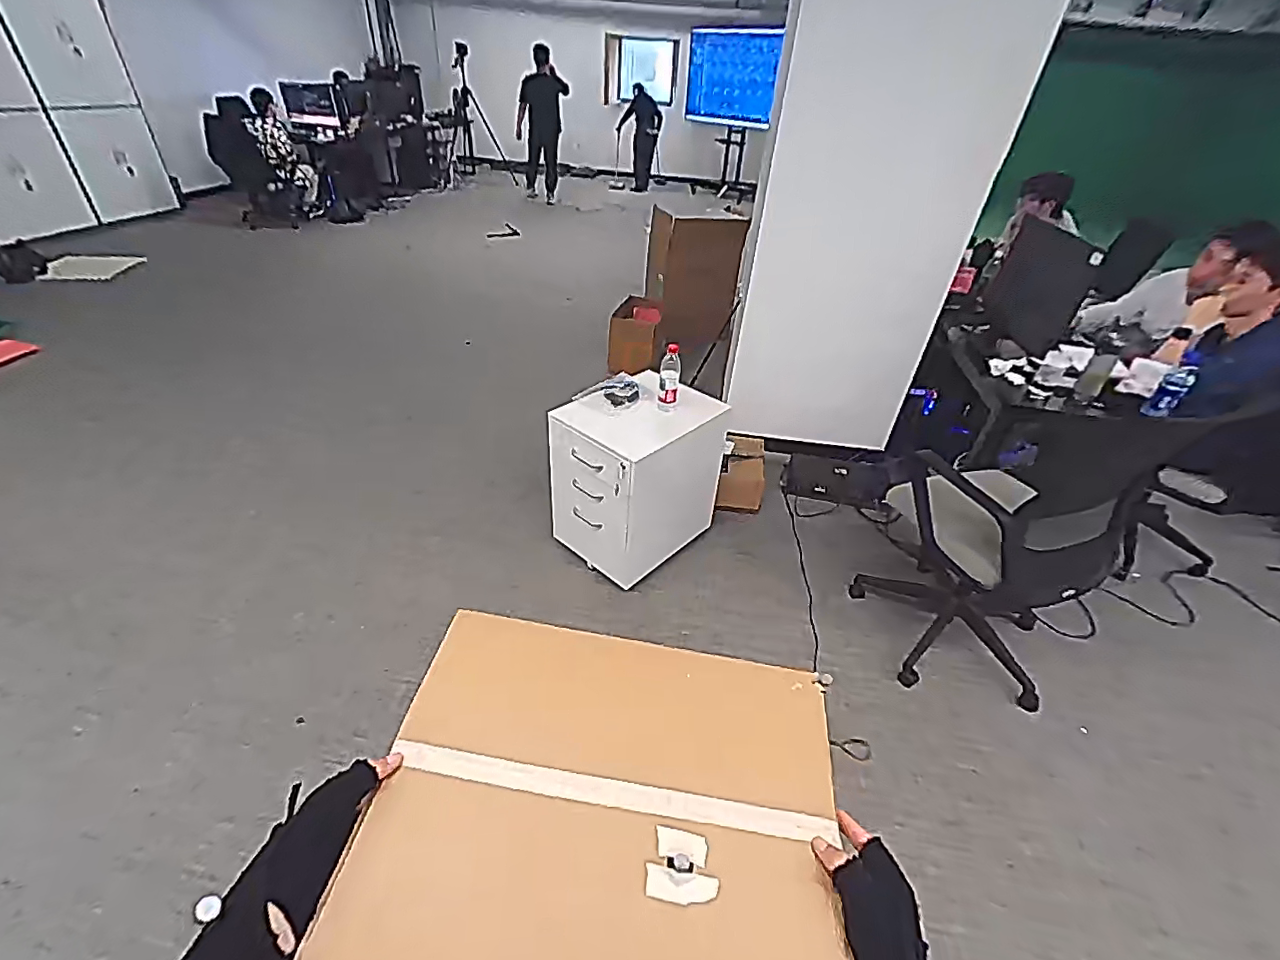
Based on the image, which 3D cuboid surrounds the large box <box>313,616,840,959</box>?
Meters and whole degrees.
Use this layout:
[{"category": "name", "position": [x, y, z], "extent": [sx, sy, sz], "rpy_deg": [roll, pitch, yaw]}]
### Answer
[{"category": "large box", "position": [-0.042, 0.394, 0.594], "extent": [0.408, 0.320, 0.320], "rpy_deg": [10, 43, 2]}]
